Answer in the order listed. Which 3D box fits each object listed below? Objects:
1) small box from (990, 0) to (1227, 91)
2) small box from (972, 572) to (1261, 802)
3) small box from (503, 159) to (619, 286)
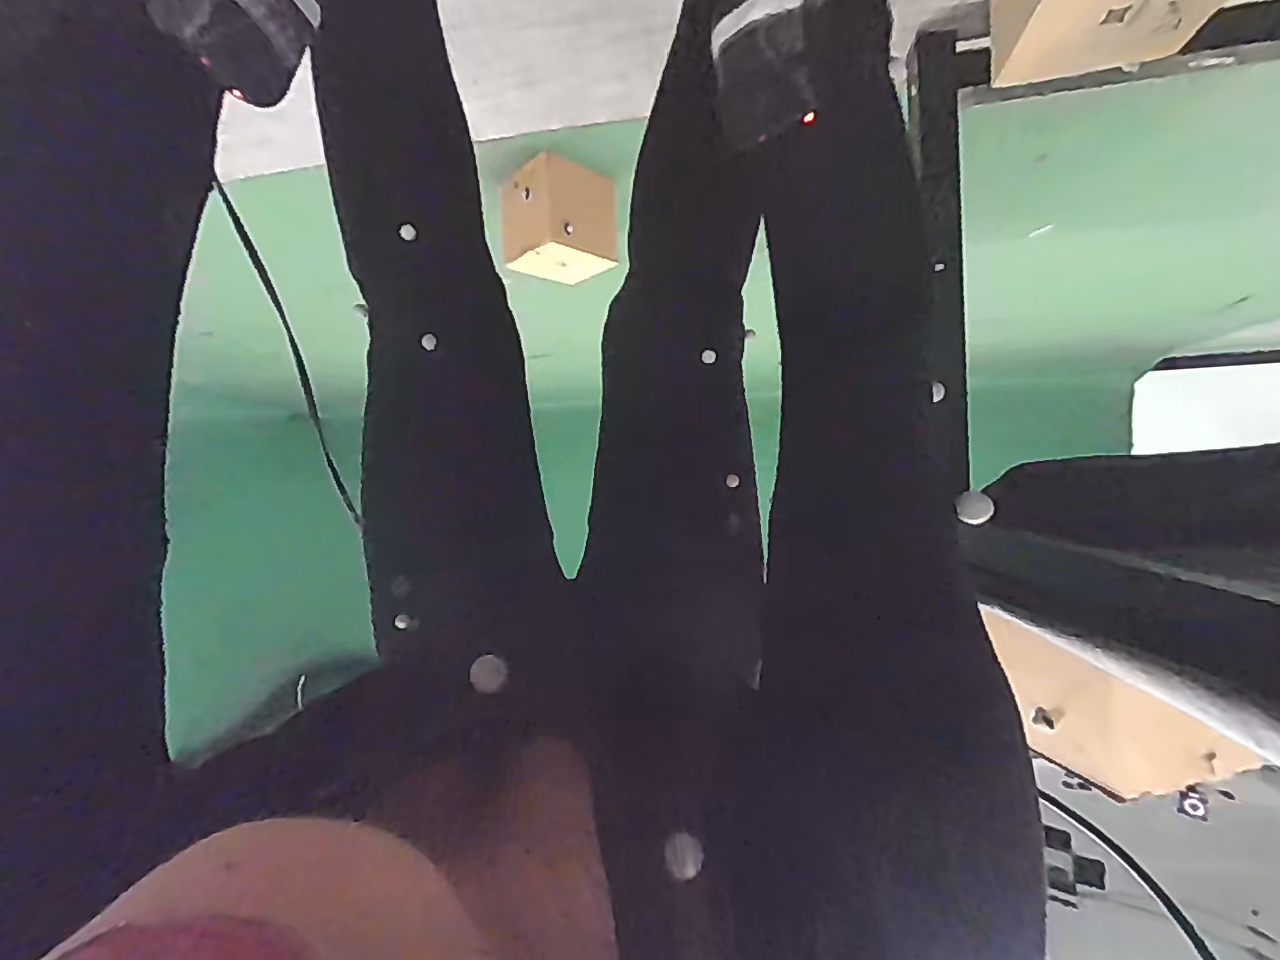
[{"bbox_3d":[0.459,-0.526,0.515,0.179,0.176,0.168,-2,-178,15],"label":"small box"},{"bbox_3d":[0.494,0.204,0.587,0.168,0.176,0.179,-5,180,-11],"label":"small box"},{"bbox_3d":[-0.160,-0.514,1.098,0.179,0.176,0.168,-3,-179,-44],"label":"small box"}]
